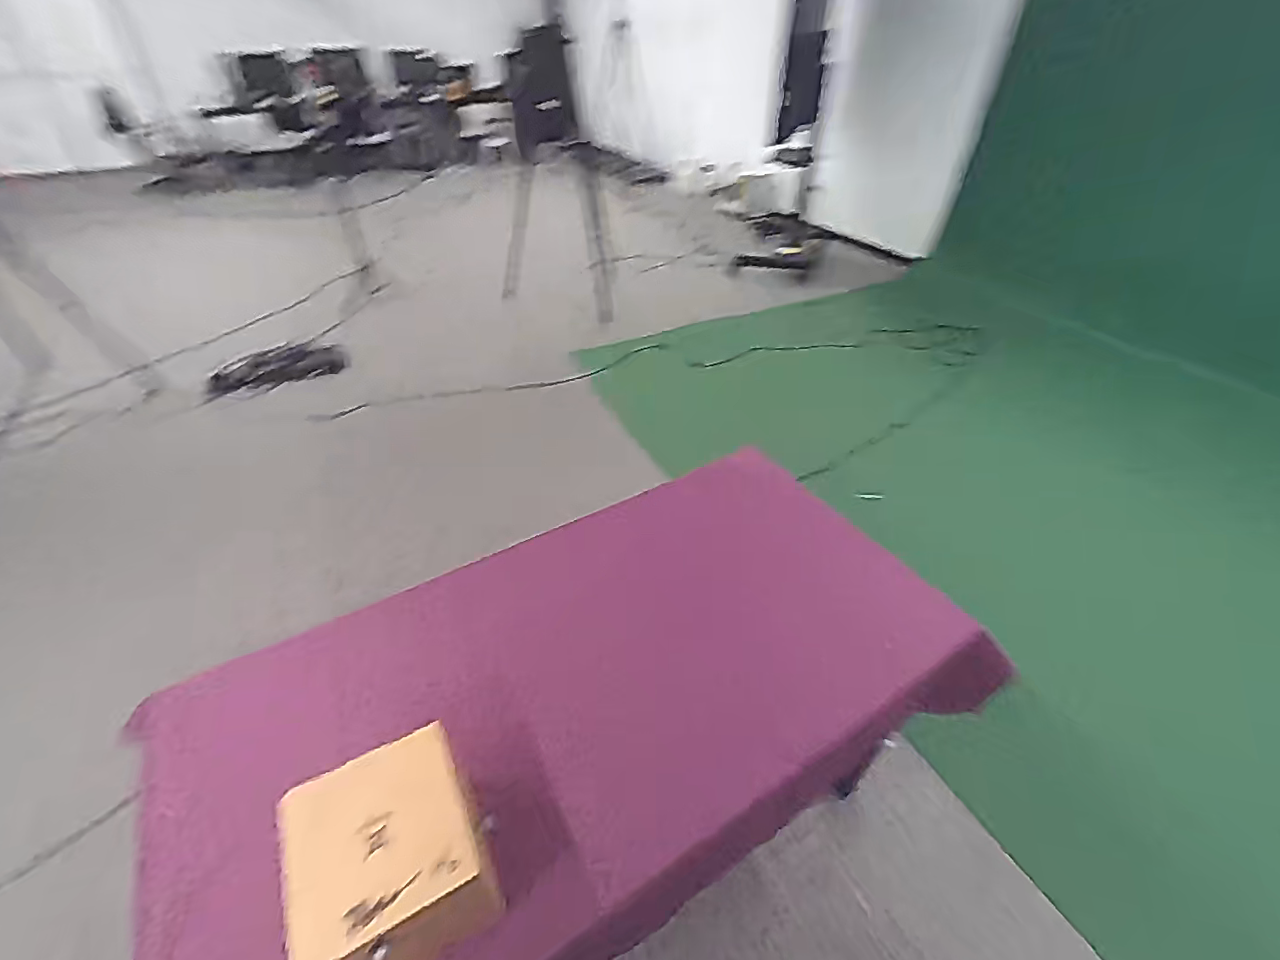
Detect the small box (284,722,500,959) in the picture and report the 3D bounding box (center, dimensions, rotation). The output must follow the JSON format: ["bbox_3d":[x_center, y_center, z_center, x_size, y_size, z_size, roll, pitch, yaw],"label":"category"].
[{"bbox_3d":[-0.271,0.420,0.604,0.168,0.176,0.179,-20,44,-22],"label":"small box"}]
